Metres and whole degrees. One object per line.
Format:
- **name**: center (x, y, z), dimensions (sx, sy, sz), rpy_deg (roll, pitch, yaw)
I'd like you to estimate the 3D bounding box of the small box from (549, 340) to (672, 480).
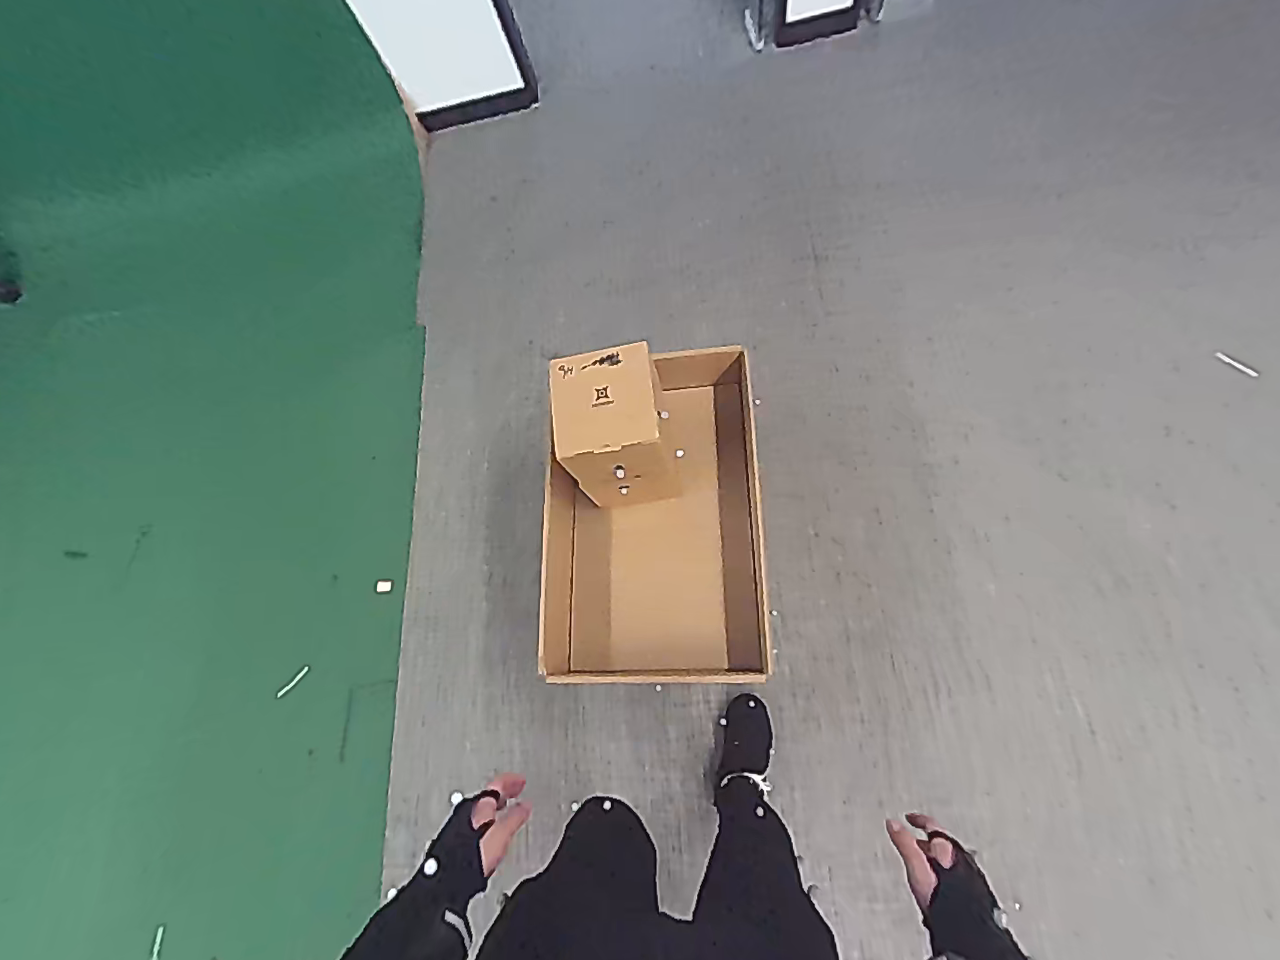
- **small box**: center (-0.044, -0.106, 0.912), dimensions (0.168, 0.176, 0.179), rpy_deg (-9, 73, 8)
